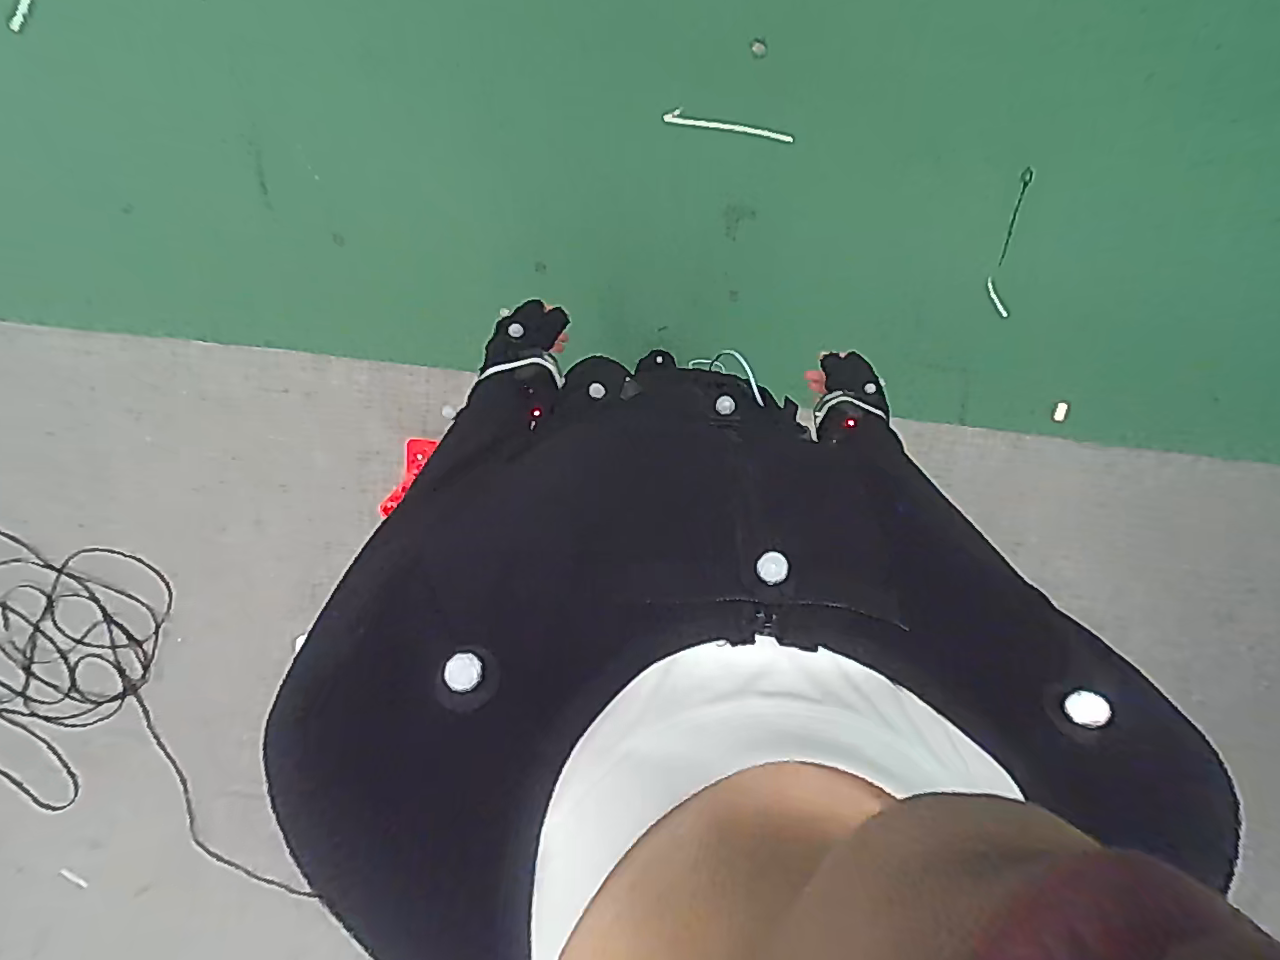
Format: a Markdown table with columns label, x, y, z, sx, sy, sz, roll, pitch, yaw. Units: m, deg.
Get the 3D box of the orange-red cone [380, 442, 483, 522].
| label | x | y | z | sx | sy | sz | roll | pitch | yaw |
| --- | --- | --- | --- | --- | --- | --- | --- | --- | --- |
| orange-red cone | -0.520 | 0.039 | 1.285 | 0.198 | 0.360 | 0.199 | 6 | 102 | -3 |
